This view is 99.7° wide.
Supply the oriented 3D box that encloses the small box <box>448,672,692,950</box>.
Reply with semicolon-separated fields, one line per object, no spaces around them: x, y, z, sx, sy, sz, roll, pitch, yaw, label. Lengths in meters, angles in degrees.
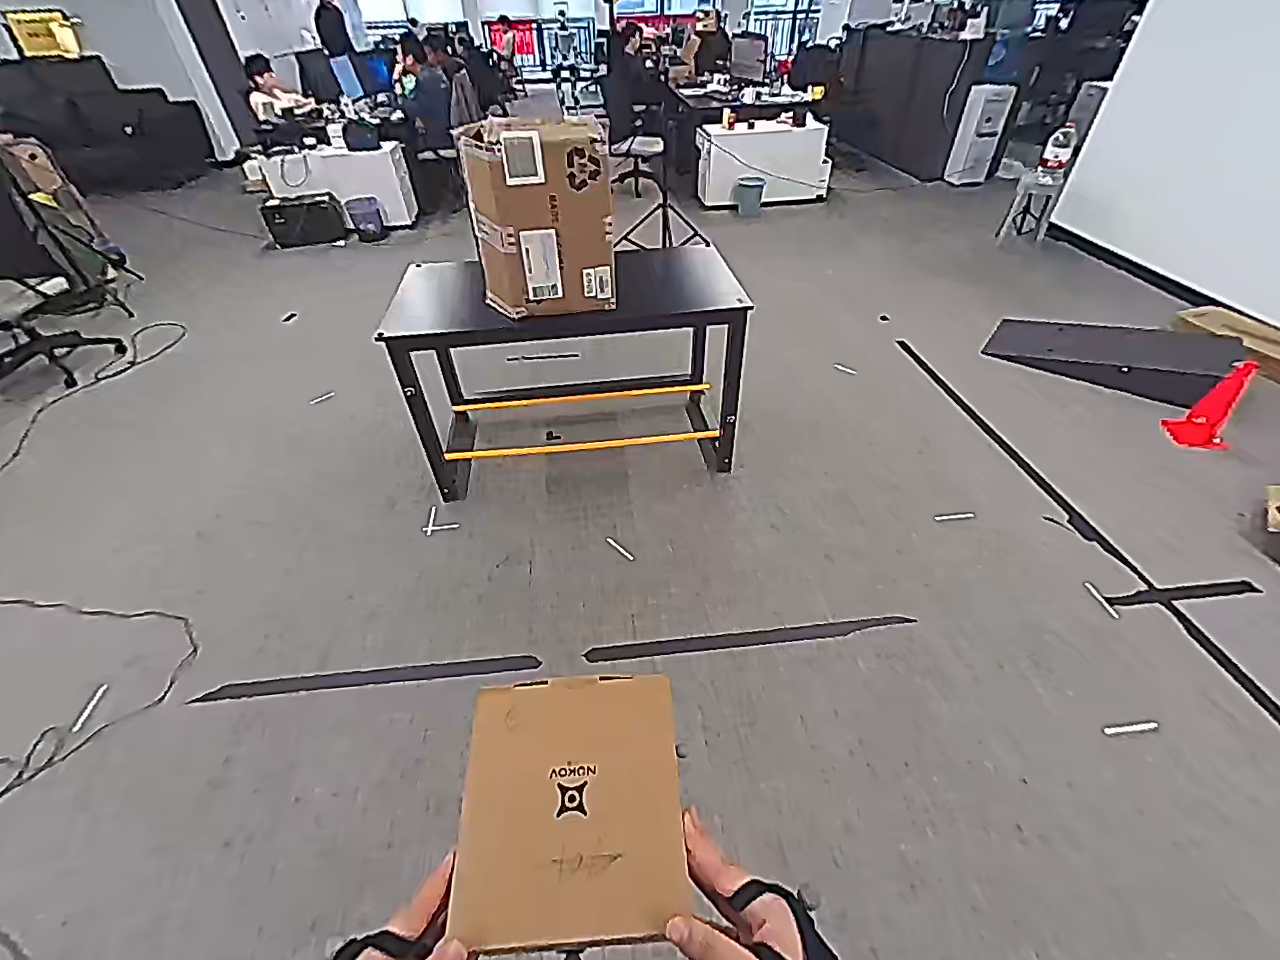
-0.050;0.290;0.474;0.168;0.176;0.179;-3;48;-1;small box
